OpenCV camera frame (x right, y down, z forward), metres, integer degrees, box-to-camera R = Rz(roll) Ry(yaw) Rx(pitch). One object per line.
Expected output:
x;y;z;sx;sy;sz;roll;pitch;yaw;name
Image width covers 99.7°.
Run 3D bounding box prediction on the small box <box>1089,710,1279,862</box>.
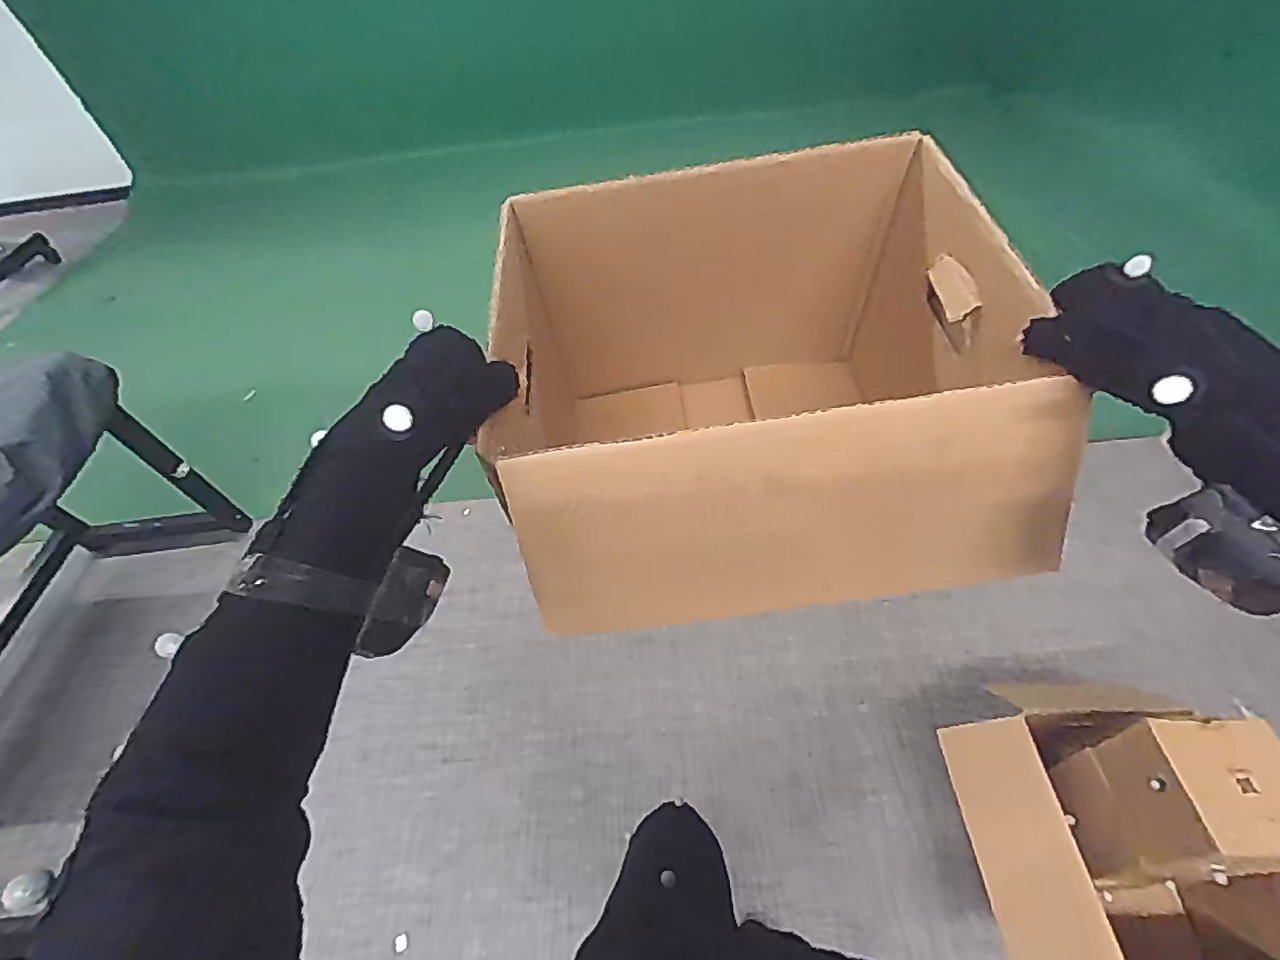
0.856;0.473;0.836;0.168;0.176;0.179;-4;50;5;small box
